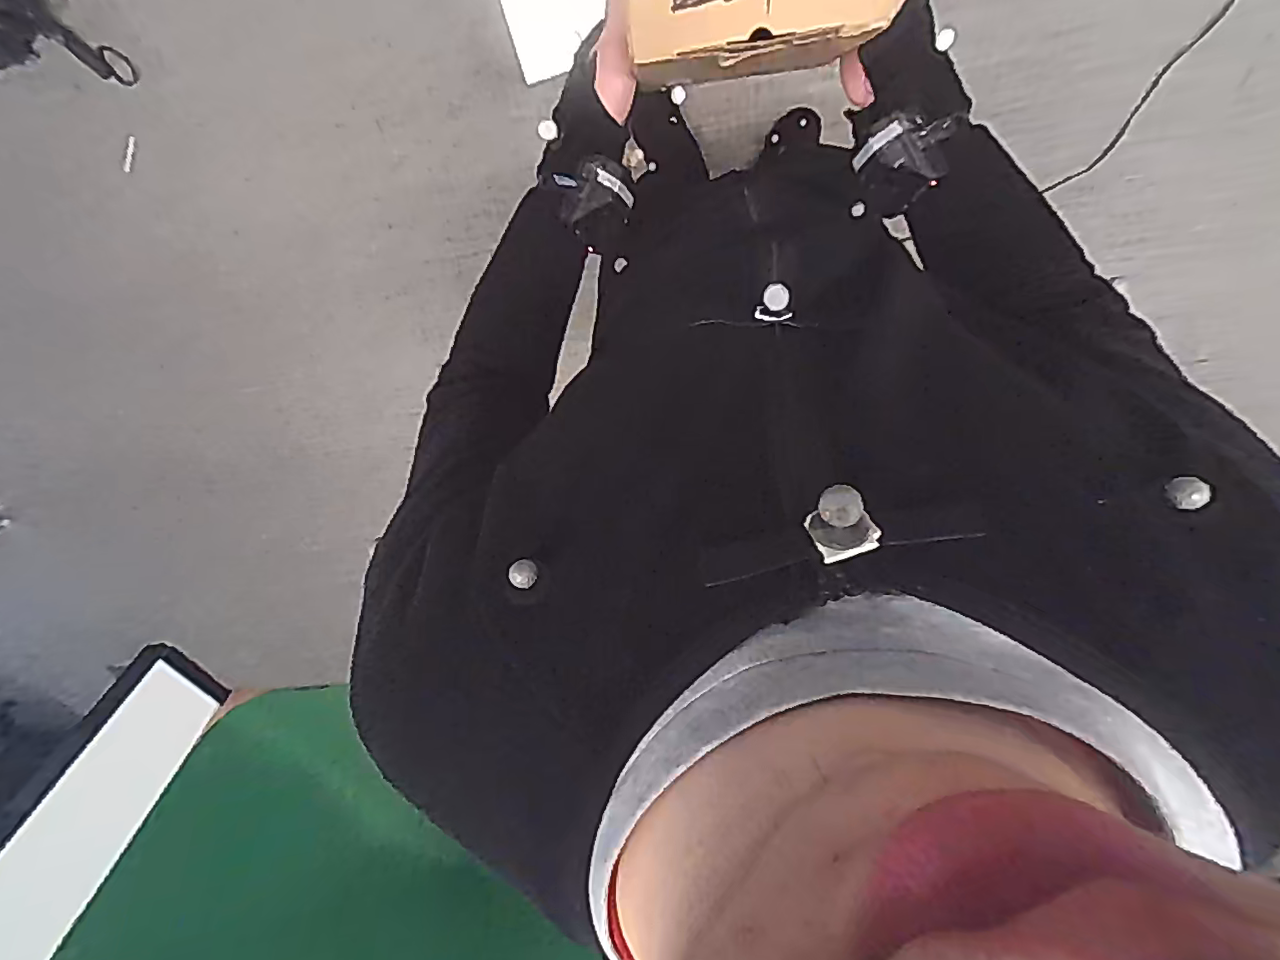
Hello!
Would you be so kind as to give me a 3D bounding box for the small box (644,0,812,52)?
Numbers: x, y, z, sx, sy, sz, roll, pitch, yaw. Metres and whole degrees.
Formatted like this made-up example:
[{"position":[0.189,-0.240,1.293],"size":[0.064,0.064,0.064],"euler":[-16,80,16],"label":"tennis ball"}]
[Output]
[{"position":[0.075,-0.557,0.538],"size":[0.168,0.176,0.179],"euler":[-10,127,12],"label":"small box"}]
